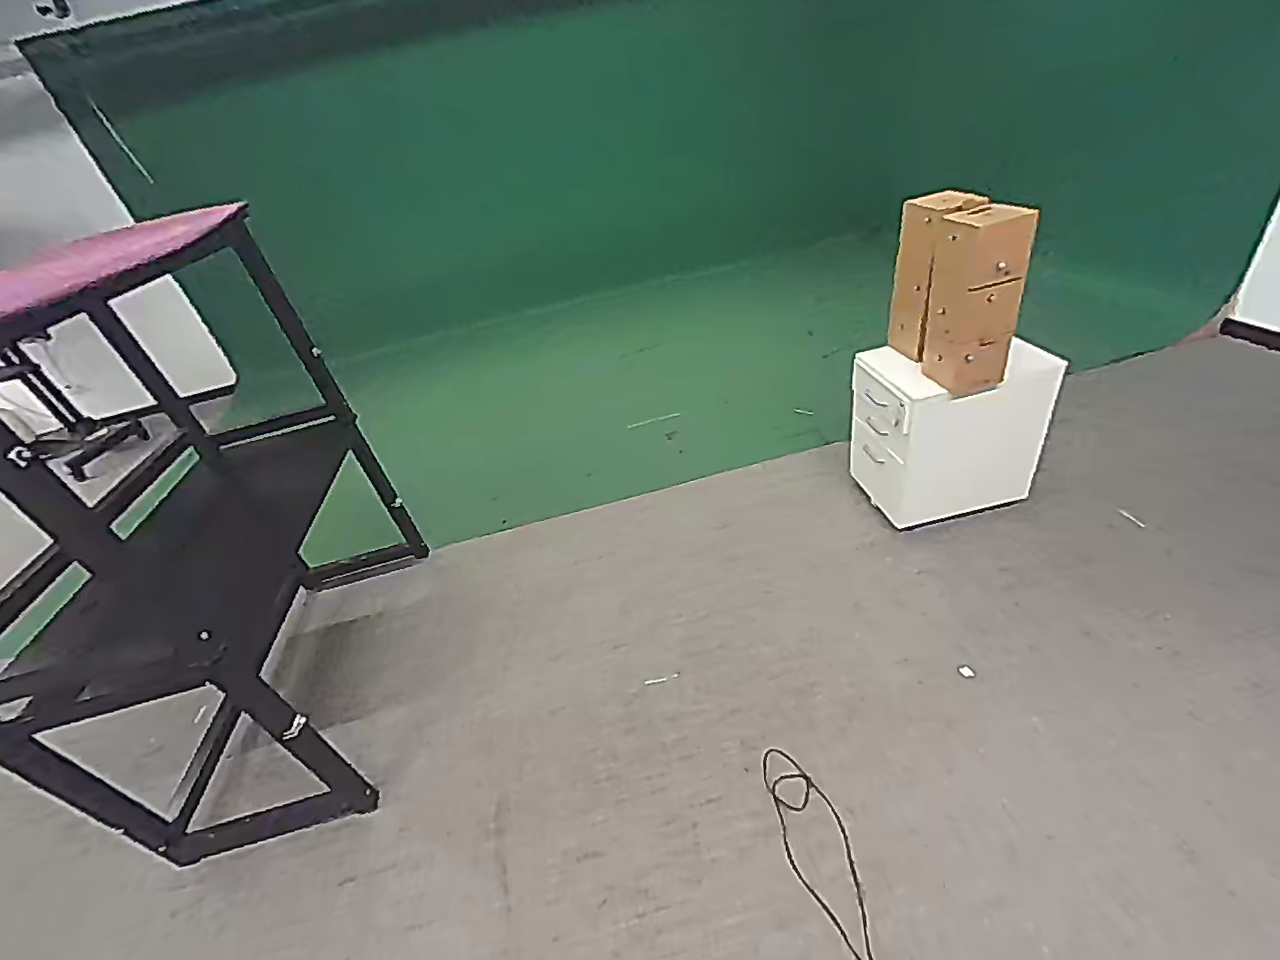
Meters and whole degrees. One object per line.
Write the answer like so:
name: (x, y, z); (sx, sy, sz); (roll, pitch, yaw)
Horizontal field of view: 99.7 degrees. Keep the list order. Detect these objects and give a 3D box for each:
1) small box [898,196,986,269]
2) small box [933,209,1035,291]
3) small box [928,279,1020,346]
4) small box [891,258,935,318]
small box: (0.956, -0.792, 1.731); (0.168, 0.176, 0.179); (-16, 37, -6)
small box: (0.957, -0.647, 1.525); (0.168, 0.176, 0.179); (-15, 35, -2)
small box: (0.990, -0.519, 1.622); (0.179, 0.176, 0.168); (-14, 35, -1)
small box: (0.979, -0.662, 1.827); (0.168, 0.176, 0.179); (-16, 36, -7)
